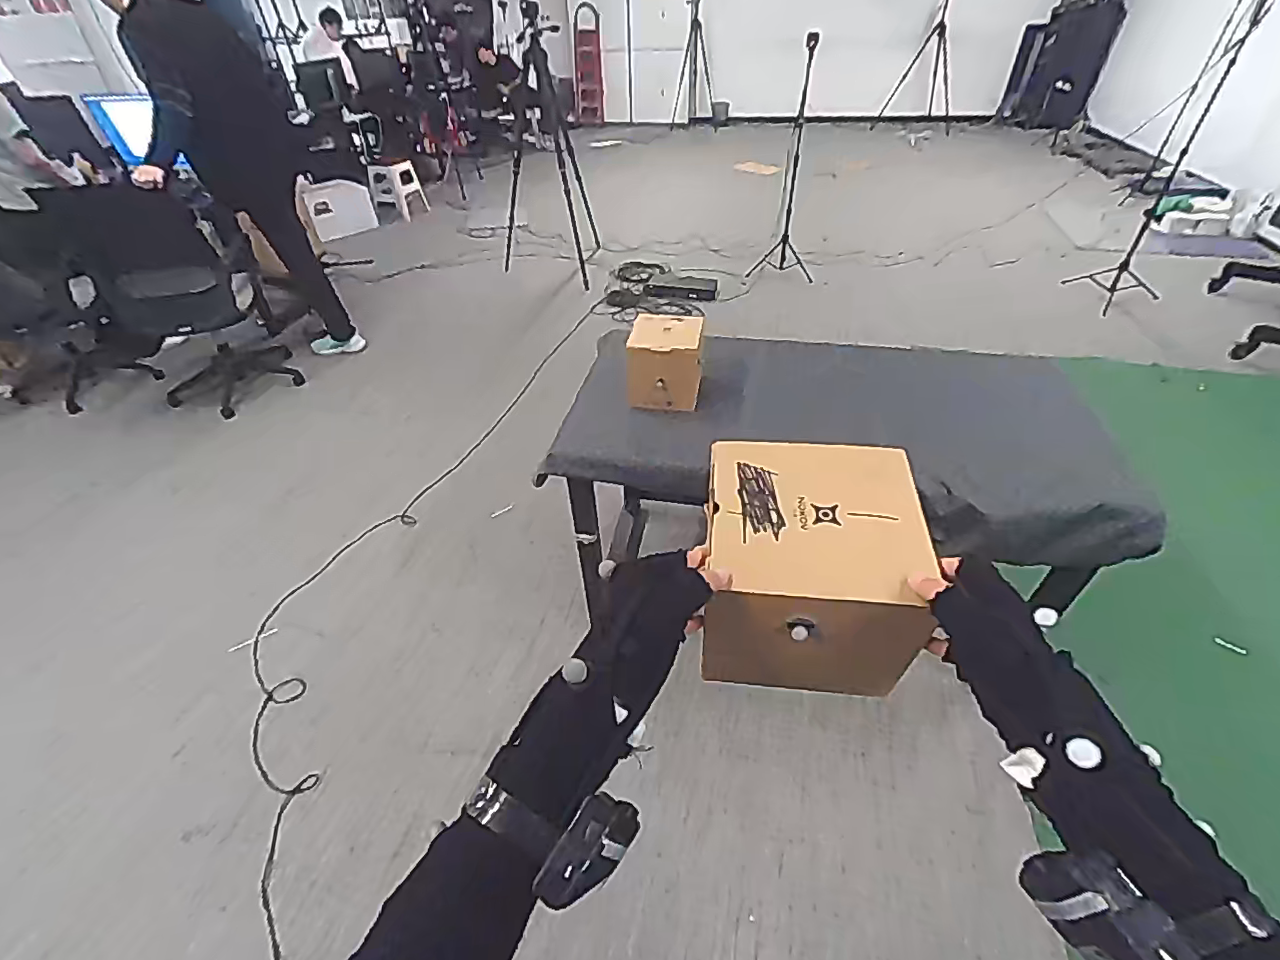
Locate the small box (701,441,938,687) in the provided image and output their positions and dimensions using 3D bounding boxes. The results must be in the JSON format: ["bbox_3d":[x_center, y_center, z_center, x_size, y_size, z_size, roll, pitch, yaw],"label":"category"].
[{"bbox_3d":[0.151,0.081,0.518,0.179,0.176,0.168,3,47,8],"label":"small box"}]

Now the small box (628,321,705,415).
[{"bbox_3d":[0.071,-0.277,1.342,0.168,0.176,0.179,5,42,9],"label":"small box"}]
